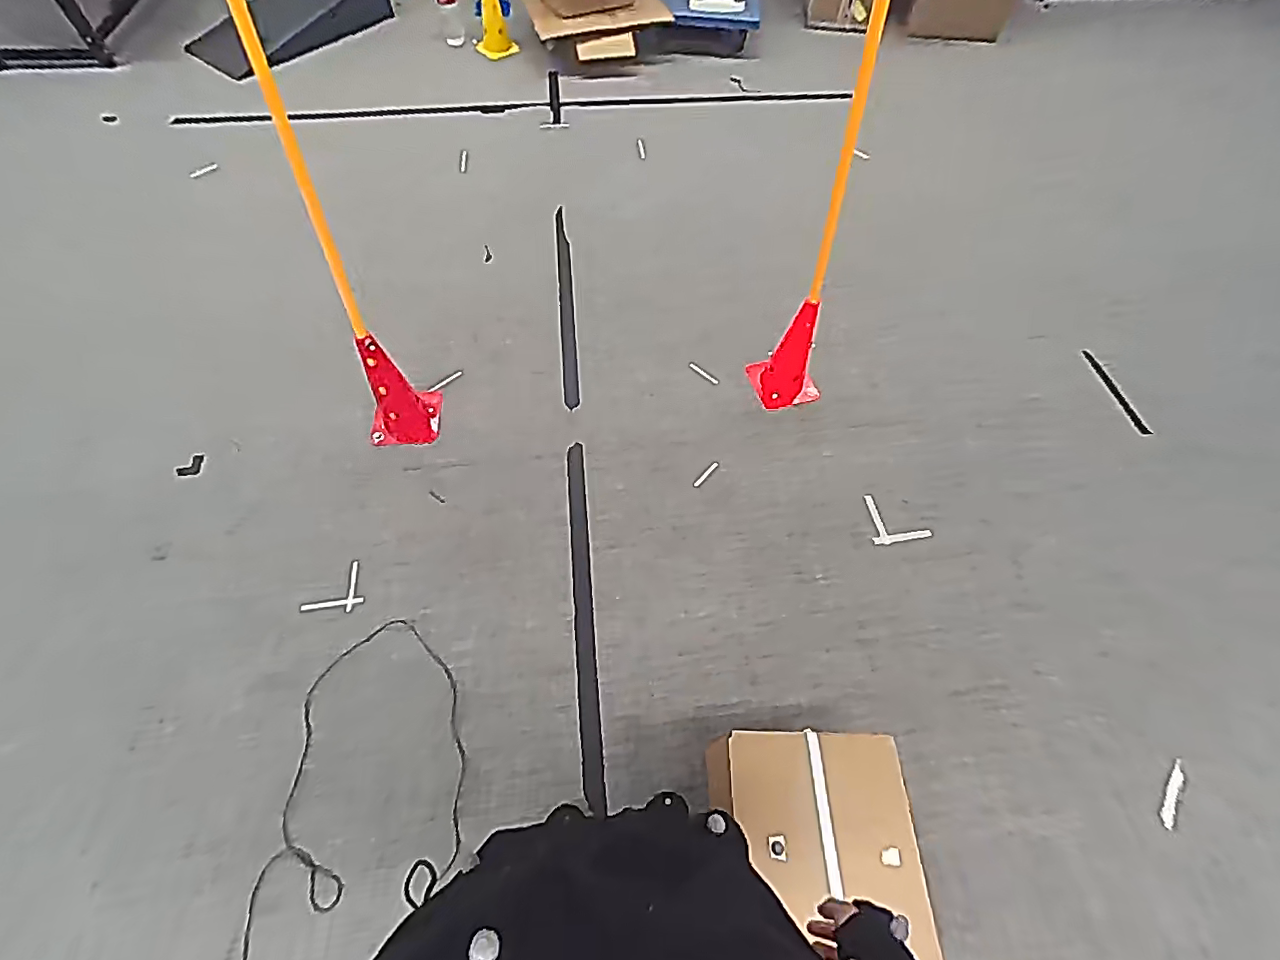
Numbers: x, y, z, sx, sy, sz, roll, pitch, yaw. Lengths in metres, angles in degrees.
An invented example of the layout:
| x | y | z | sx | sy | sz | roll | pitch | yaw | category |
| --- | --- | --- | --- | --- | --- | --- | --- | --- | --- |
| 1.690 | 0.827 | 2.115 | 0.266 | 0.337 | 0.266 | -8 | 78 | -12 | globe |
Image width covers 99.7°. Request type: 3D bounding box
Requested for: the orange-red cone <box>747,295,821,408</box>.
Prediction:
| x | y | z | sx | sy | sz | roll | pitch | yaw | category |
| --- | --- | --- | --- | --- | --- | --- | --- | --- | --- |
| 0.478 | -0.412 | 1.646 | 0.199 | 0.360 | 0.198 | -12 | 62 | -10 | orange-red cone |
